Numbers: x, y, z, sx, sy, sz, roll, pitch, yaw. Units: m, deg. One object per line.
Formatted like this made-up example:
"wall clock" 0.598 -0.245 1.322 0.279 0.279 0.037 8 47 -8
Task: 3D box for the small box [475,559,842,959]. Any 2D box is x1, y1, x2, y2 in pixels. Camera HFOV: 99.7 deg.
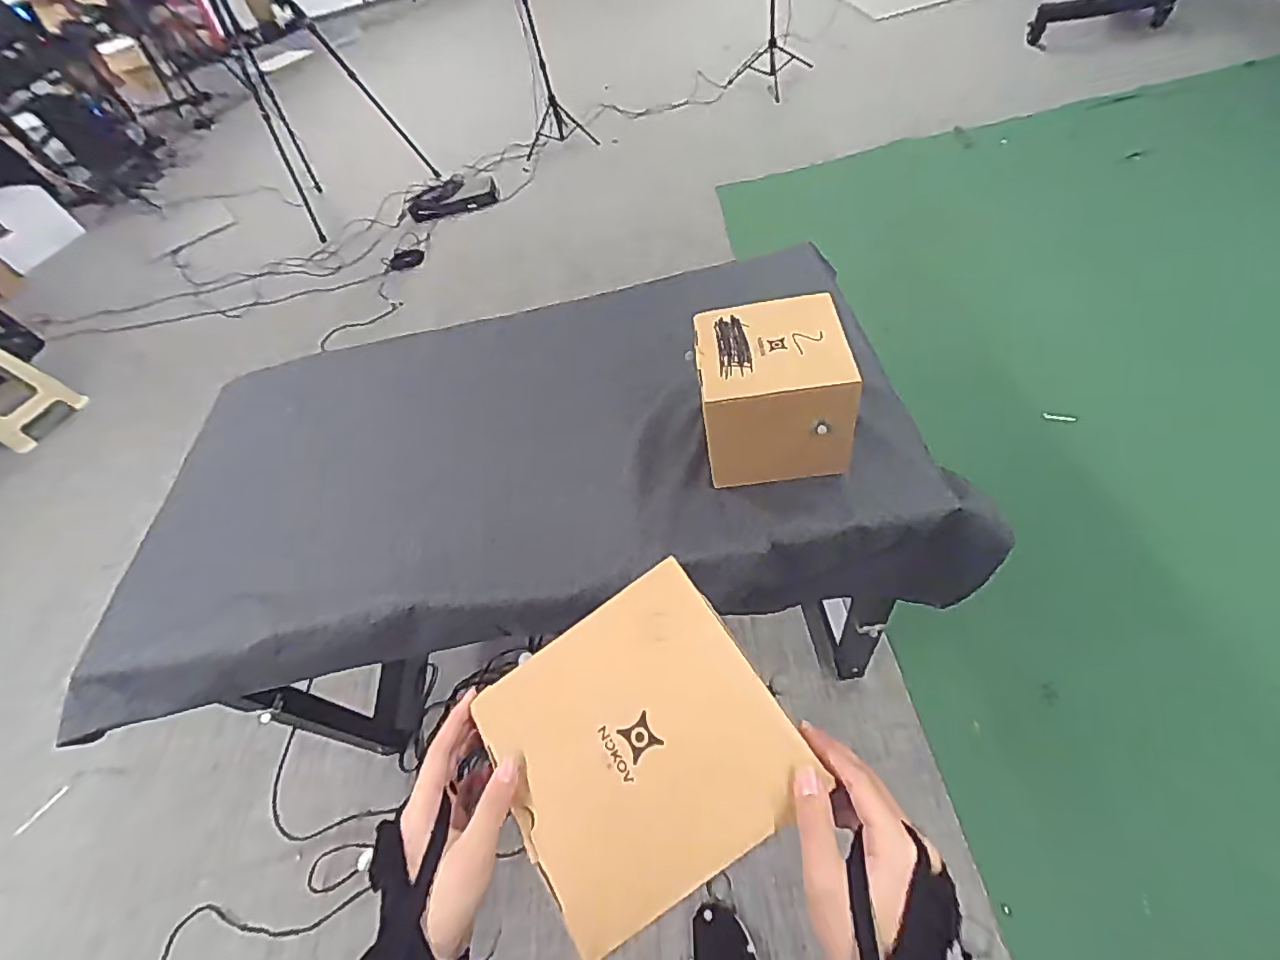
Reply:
"small box" 0.019 0.187 0.403 0.179 0.176 0.168 -36 65 0
